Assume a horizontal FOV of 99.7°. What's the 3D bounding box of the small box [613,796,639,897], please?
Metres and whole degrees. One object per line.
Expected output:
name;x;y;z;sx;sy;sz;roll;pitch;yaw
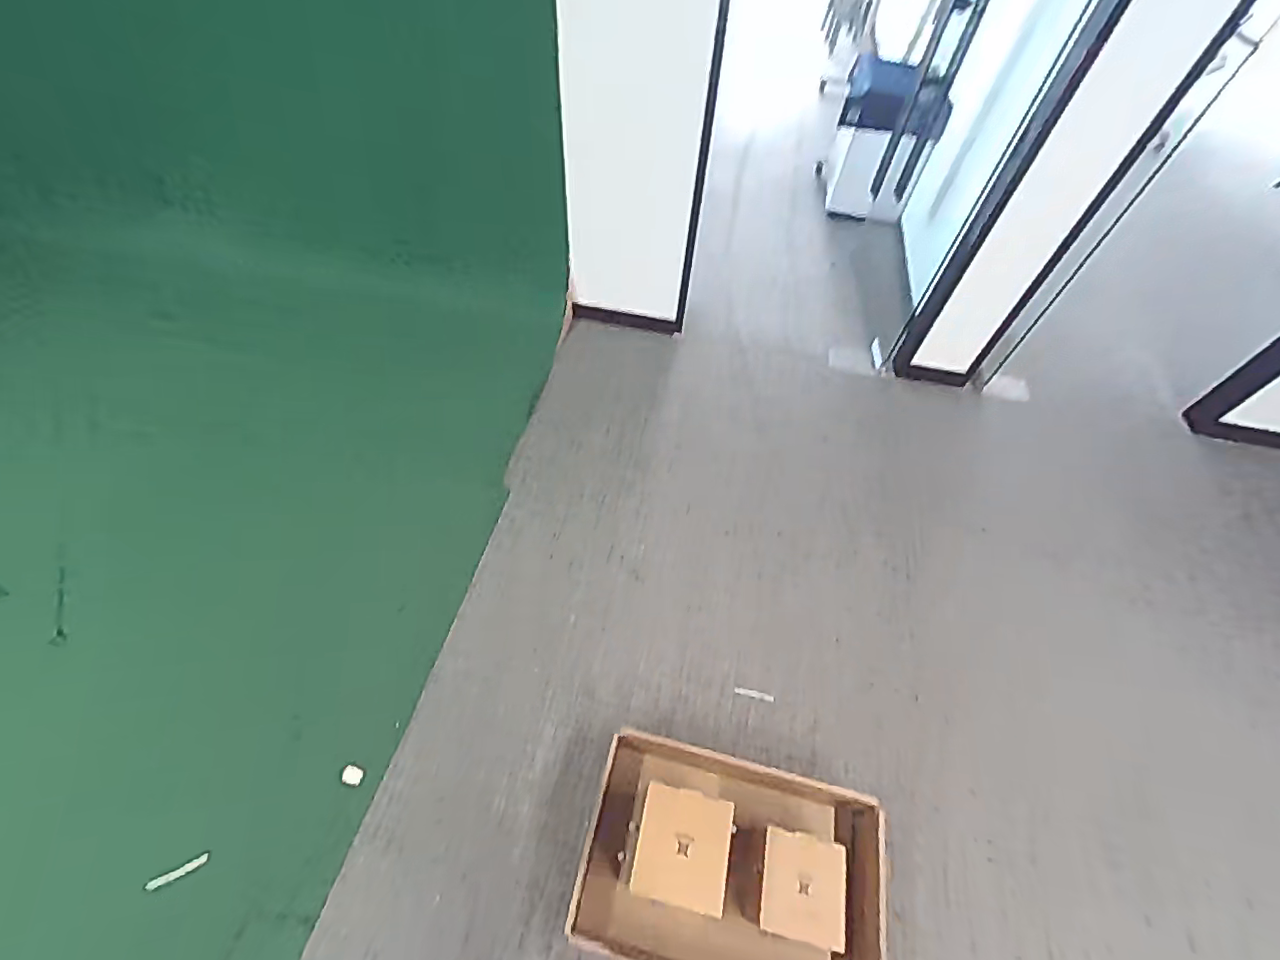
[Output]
small box;0.043;0.802;1.153;0.168;0.176;0.179;14;54;4

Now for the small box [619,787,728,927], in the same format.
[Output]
small box;0.060;0.708;1.021;0.168;0.176;0.179;13;54;4
